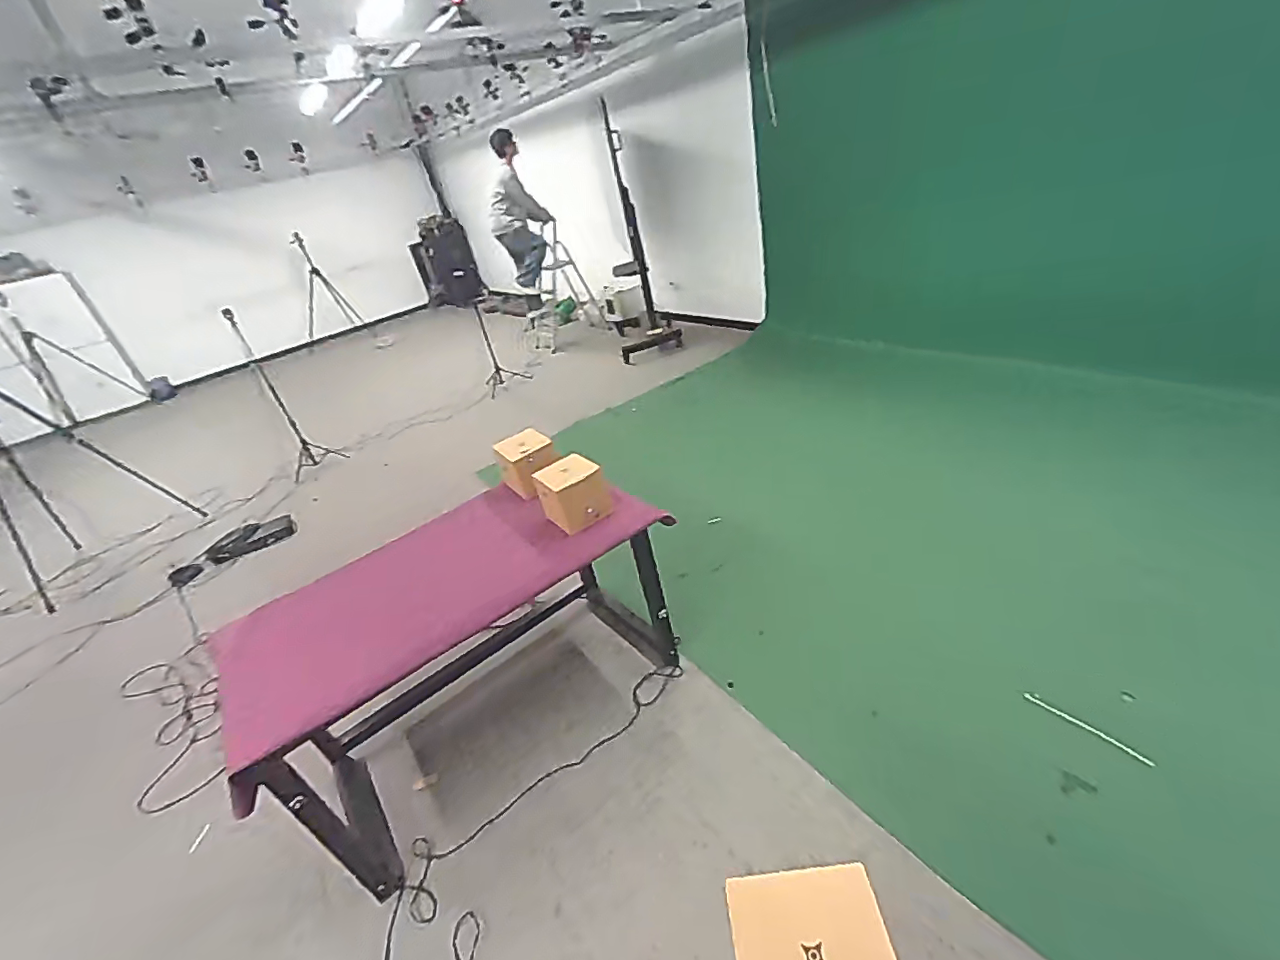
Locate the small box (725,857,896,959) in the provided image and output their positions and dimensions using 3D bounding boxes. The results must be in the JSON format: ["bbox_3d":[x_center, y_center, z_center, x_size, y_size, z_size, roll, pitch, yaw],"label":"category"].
[{"bbox_3d":[0.193,0.565,0.602,0.168,0.176,0.179,-9,28,3],"label":"small box"}]

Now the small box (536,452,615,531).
[{"bbox_3d":[-0.203,0.037,1.724,0.168,0.176,0.179,-30,33,-23],"label":"small box"}]

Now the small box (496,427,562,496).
[{"bbox_3d":[-0.391,-0.066,1.963,0.168,0.176,0.179,-32,37,-24],"label":"small box"}]
